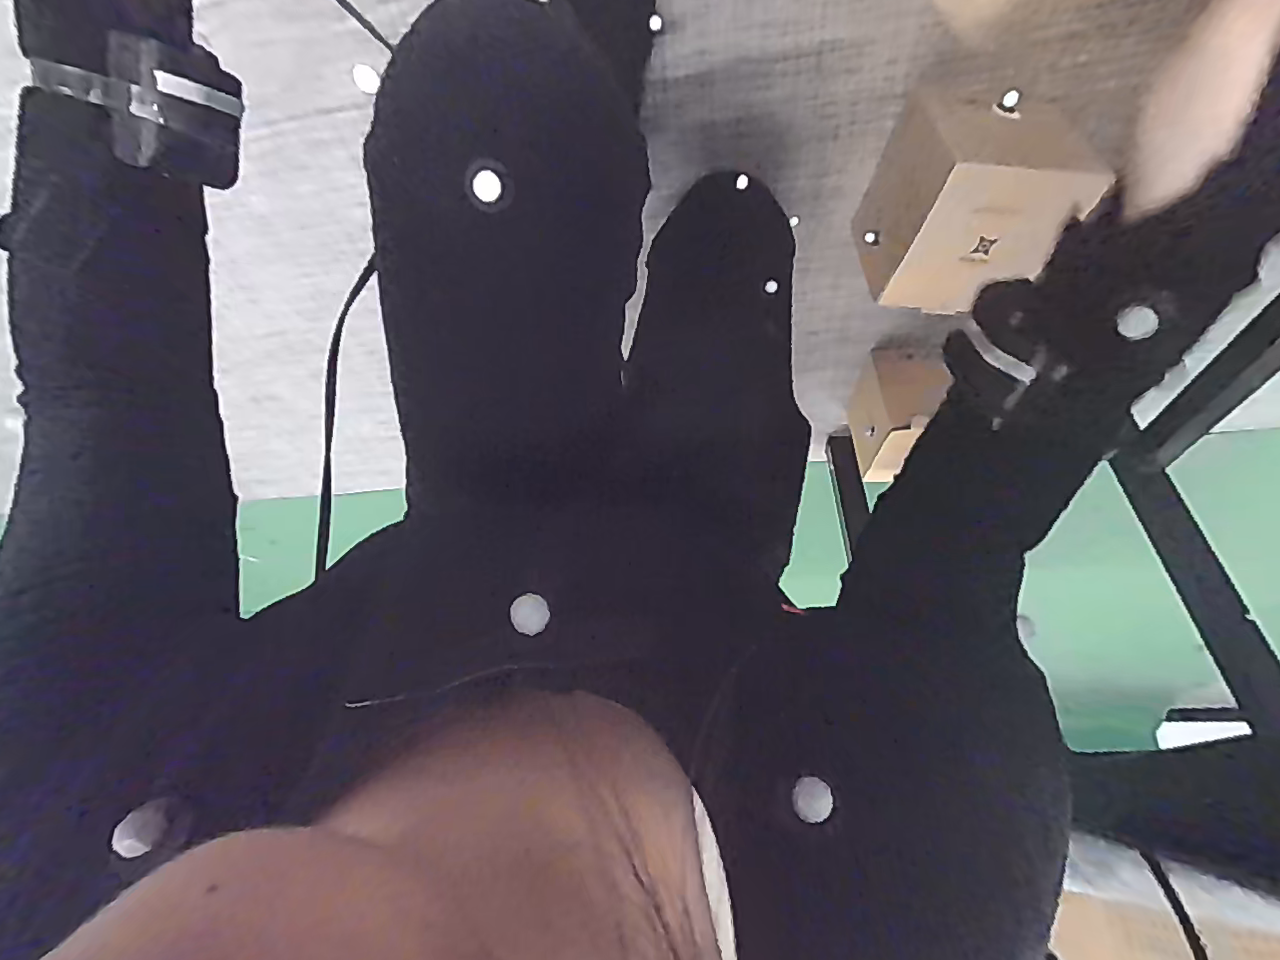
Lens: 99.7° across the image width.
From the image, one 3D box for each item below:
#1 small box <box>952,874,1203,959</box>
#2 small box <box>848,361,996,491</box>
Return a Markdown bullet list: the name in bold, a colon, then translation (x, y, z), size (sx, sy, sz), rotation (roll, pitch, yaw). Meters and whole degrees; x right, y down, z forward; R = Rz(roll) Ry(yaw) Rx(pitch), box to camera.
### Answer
- **small box**: translation (0.457, 0.509, 0.550), size (0.179, 0.176, 0.168), rotation (23, 138, -29)
- **small box**: translation (0.482, -0.097, 0.960), size (0.168, 0.176, 0.179), rotation (0, 148, 4)
